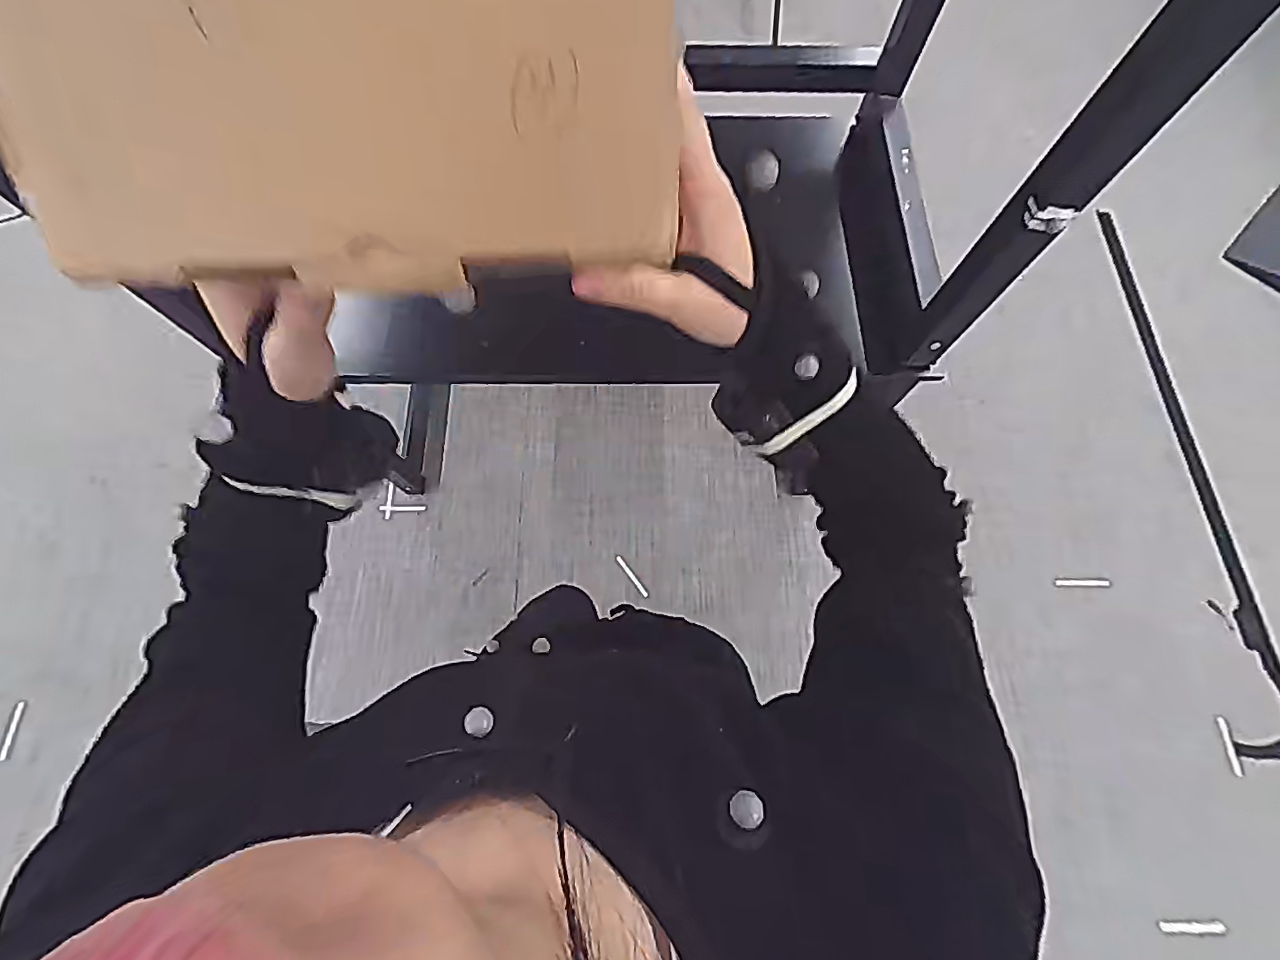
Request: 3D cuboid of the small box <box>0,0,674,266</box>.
[{"bbox_3d":[-0.080,-0.173,0.190,0.168,0.176,0.179,-4,112,-5],"label":"small box"}]
